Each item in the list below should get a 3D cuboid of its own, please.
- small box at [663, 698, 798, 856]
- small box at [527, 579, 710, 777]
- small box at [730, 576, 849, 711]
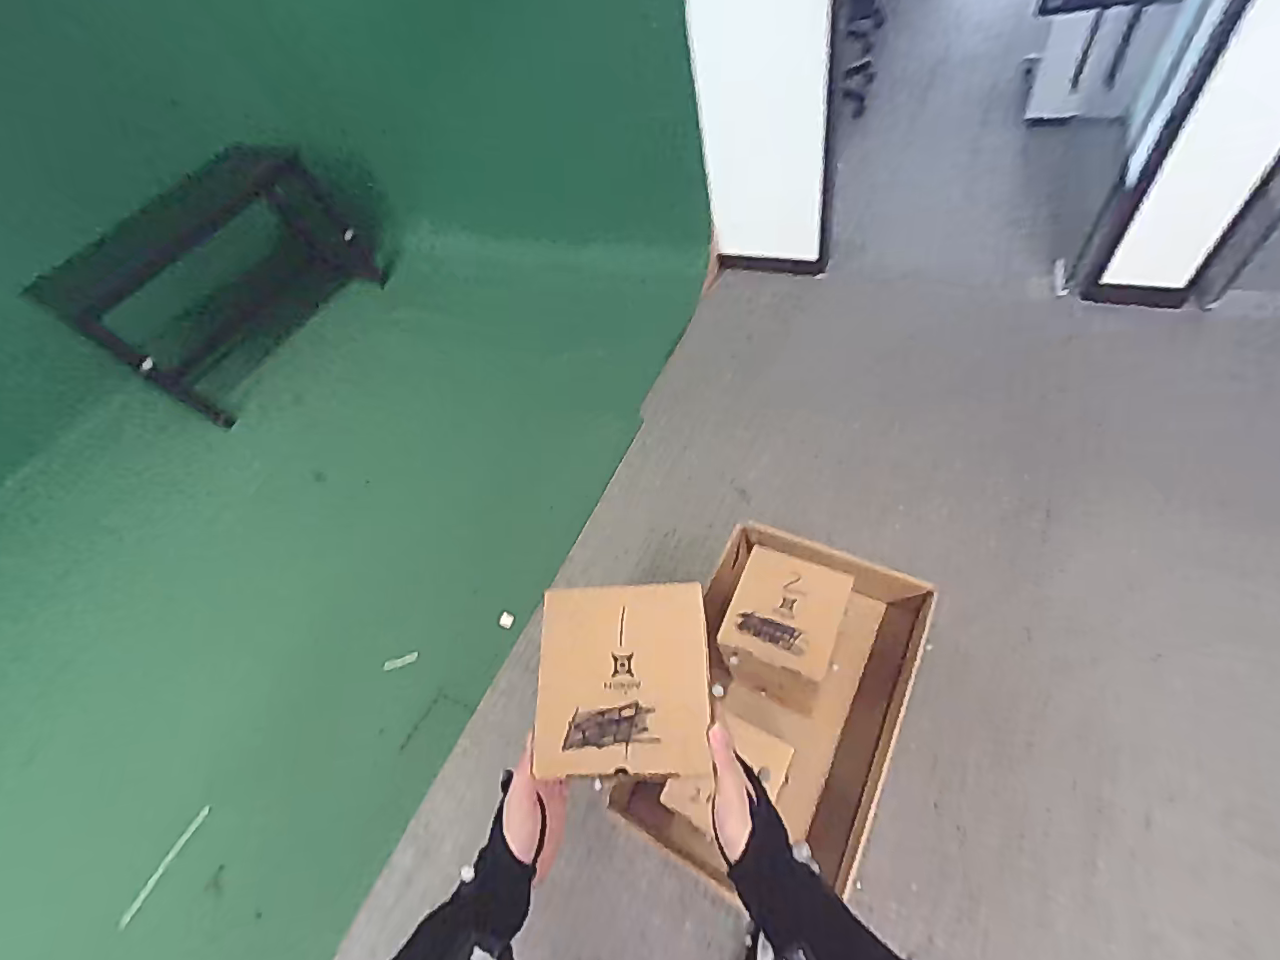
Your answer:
[{"bbox_3d":[0.162,0.515,0.939,0.168,0.176,0.179,19,63,27],"label":"small box"},{"bbox_3d":[-0.013,0.220,0.588,0.168,0.176,0.179,-5,61,6],"label":"small box"},{"bbox_3d":[0.287,0.318,1.043,0.168,0.176,0.179,18,66,25],"label":"small box"}]
